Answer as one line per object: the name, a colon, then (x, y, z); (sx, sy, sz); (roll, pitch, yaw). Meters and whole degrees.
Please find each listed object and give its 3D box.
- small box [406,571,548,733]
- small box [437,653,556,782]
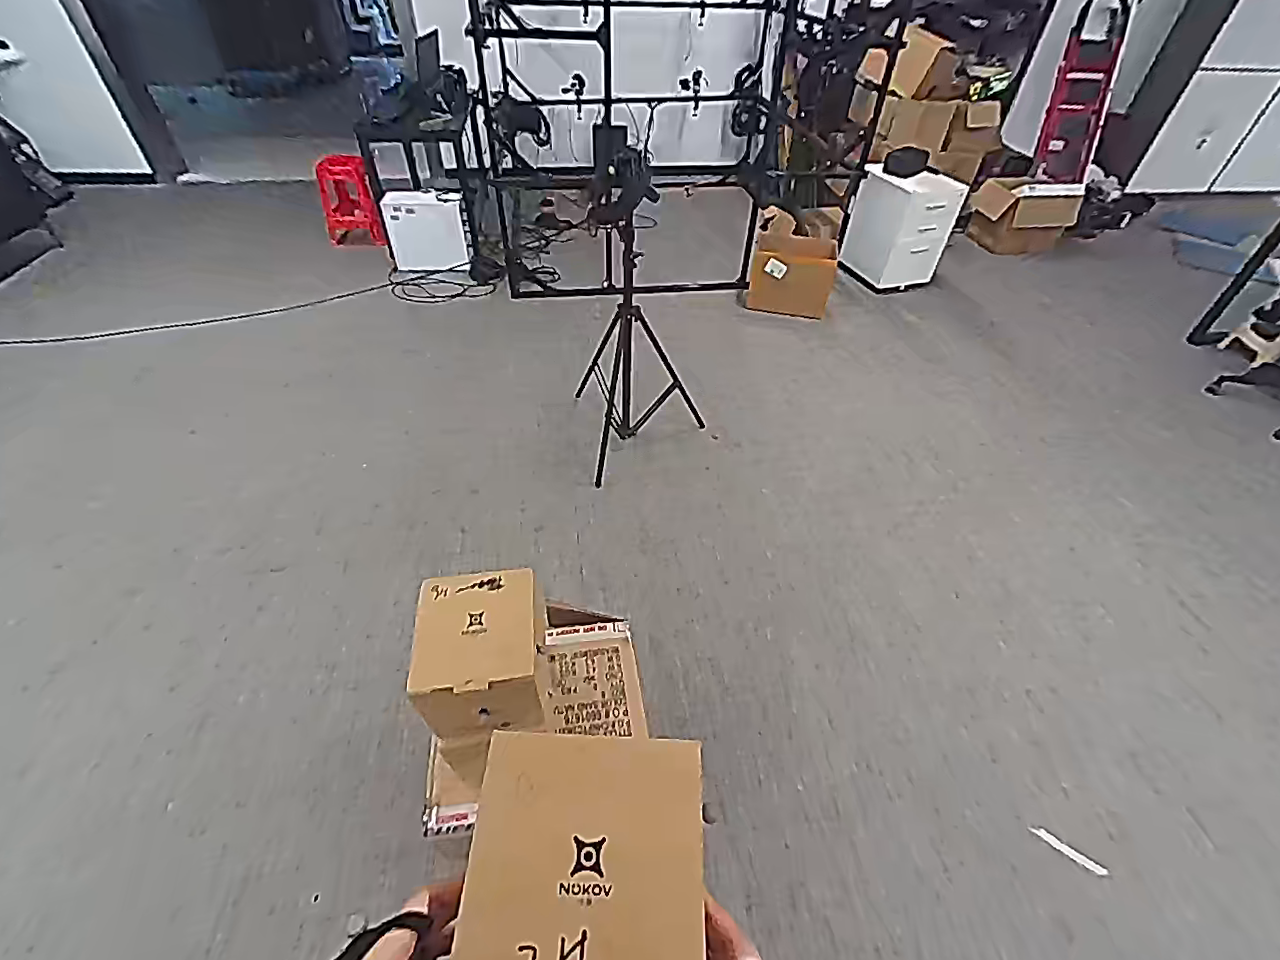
small box: (-0.230, 0.262, 0.808); (0.168, 0.176, 0.179); (-5, 48, -7)
small box: (-0.235, 0.384, 0.918); (0.168, 0.176, 0.179); (-7, 48, -8)
